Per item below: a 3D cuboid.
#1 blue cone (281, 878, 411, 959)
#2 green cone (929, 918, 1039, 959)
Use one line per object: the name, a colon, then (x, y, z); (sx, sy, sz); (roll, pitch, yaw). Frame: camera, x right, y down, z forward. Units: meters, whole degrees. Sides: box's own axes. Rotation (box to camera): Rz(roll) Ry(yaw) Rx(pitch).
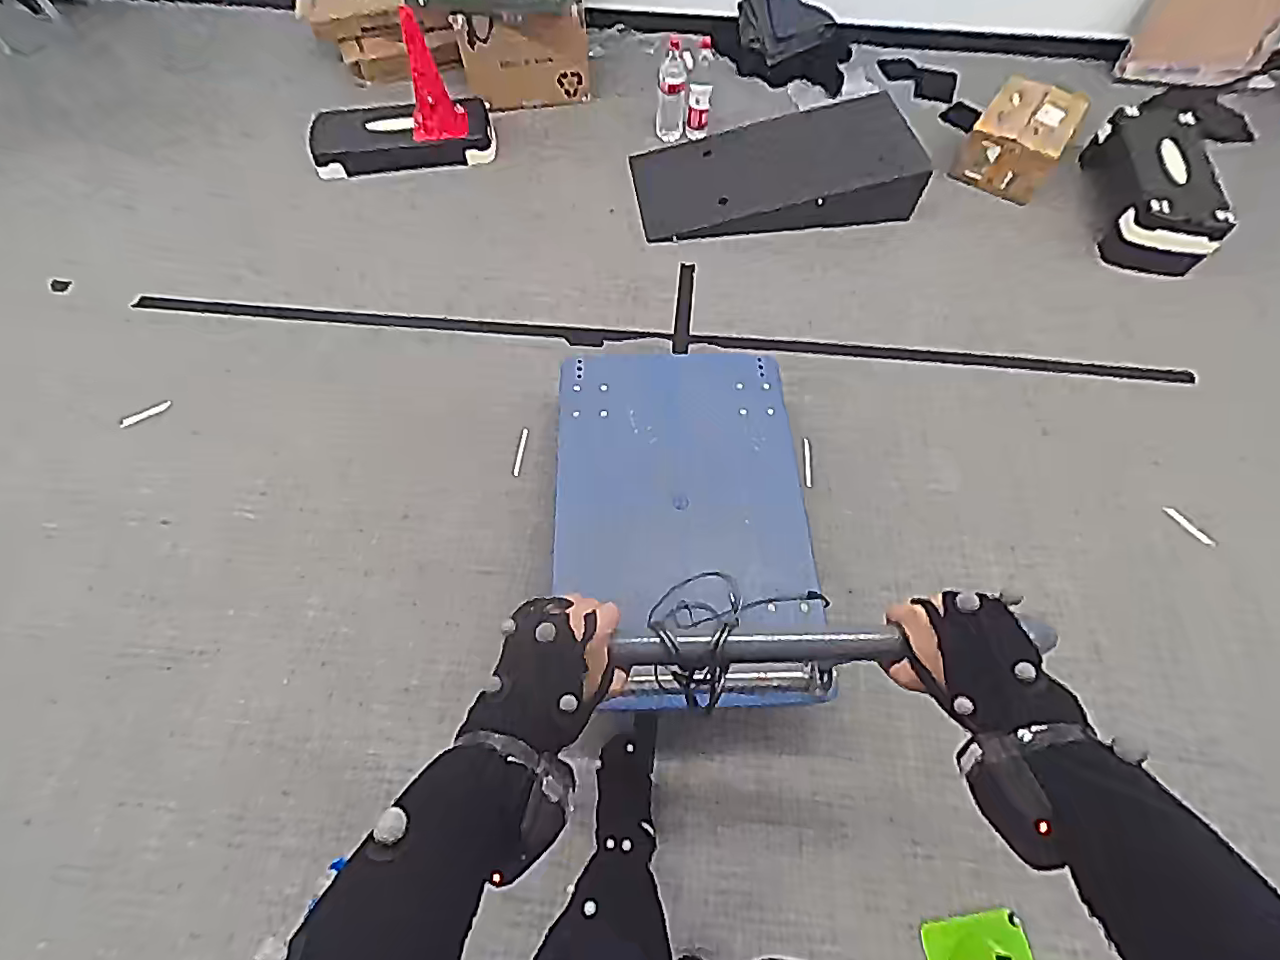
blue cone: (-0.535, 0.785, 0.847); (0.193, 0.380, 0.192); (19, 64, 8)
green cone: (0.645, 0.848, 0.820); (0.200, 0.368, 0.202); (-7, 64, -5)
